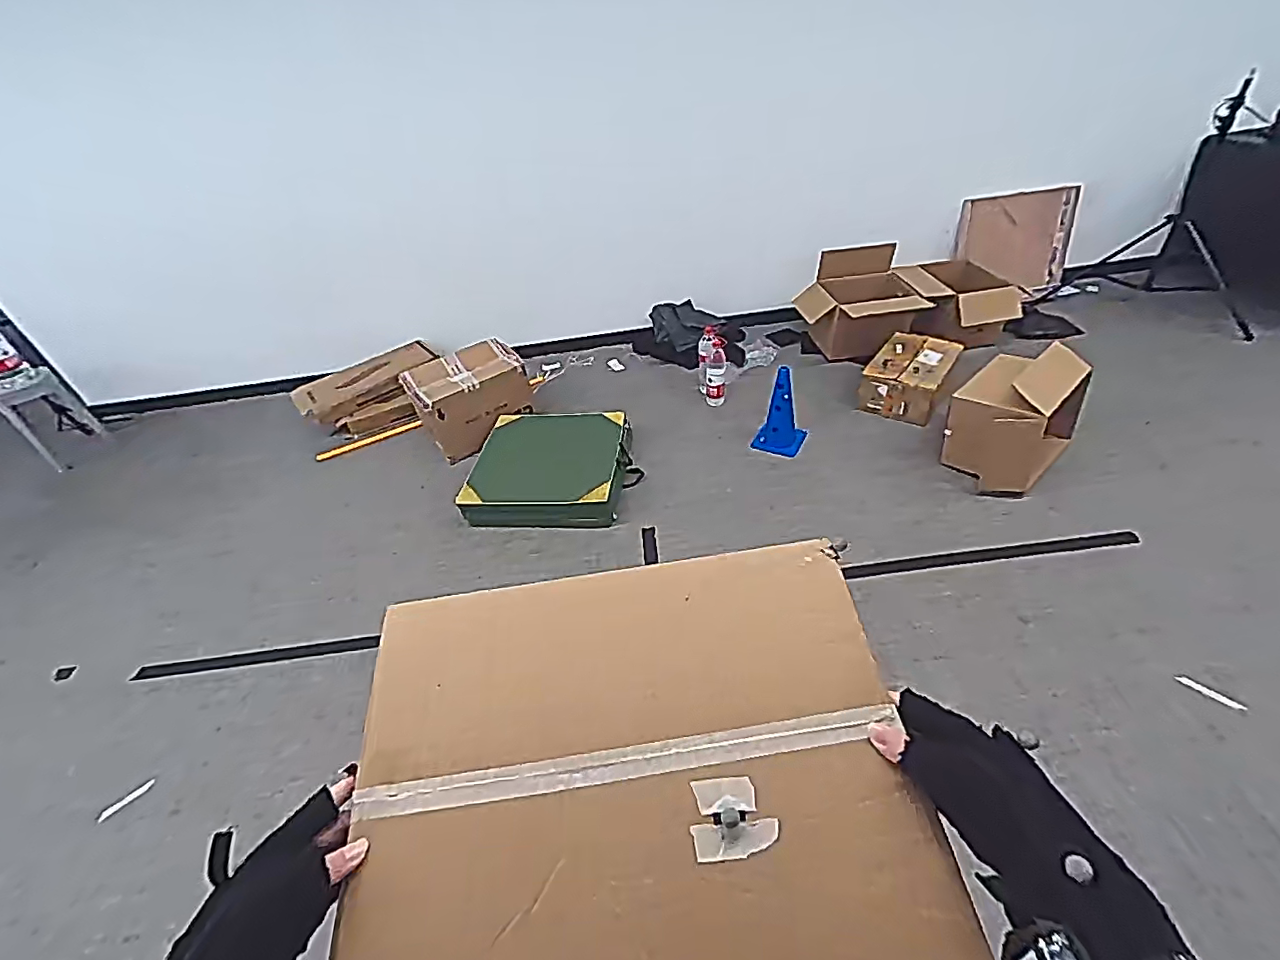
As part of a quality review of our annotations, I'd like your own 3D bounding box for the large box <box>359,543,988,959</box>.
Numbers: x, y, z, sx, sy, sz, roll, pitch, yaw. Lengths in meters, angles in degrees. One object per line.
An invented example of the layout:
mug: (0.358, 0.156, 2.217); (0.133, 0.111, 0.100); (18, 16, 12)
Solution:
large box: (0.009, 0.300, 0.530); (0.408, 0.320, 0.320); (-9, 54, -1)
